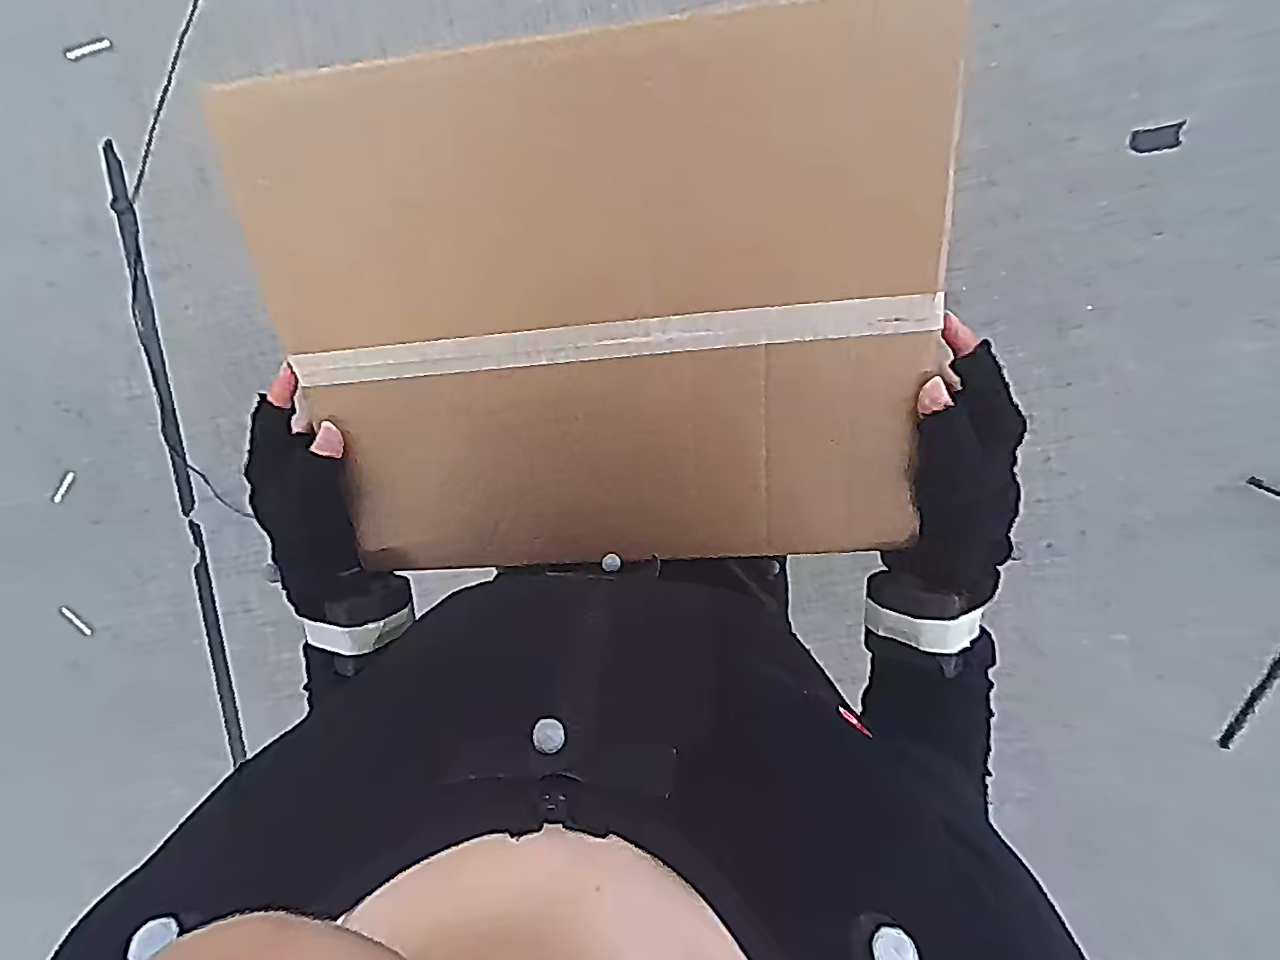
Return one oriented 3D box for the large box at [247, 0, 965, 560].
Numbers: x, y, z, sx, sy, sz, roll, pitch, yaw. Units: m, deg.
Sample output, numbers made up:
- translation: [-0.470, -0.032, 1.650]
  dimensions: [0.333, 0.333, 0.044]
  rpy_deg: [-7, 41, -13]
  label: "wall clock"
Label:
- translation: [-0.009, -0.146, 0.482]
  dimensions: [0.408, 0.320, 0.320]
  rpy_deg: [-3, 113, 6]
  label: "large box"
